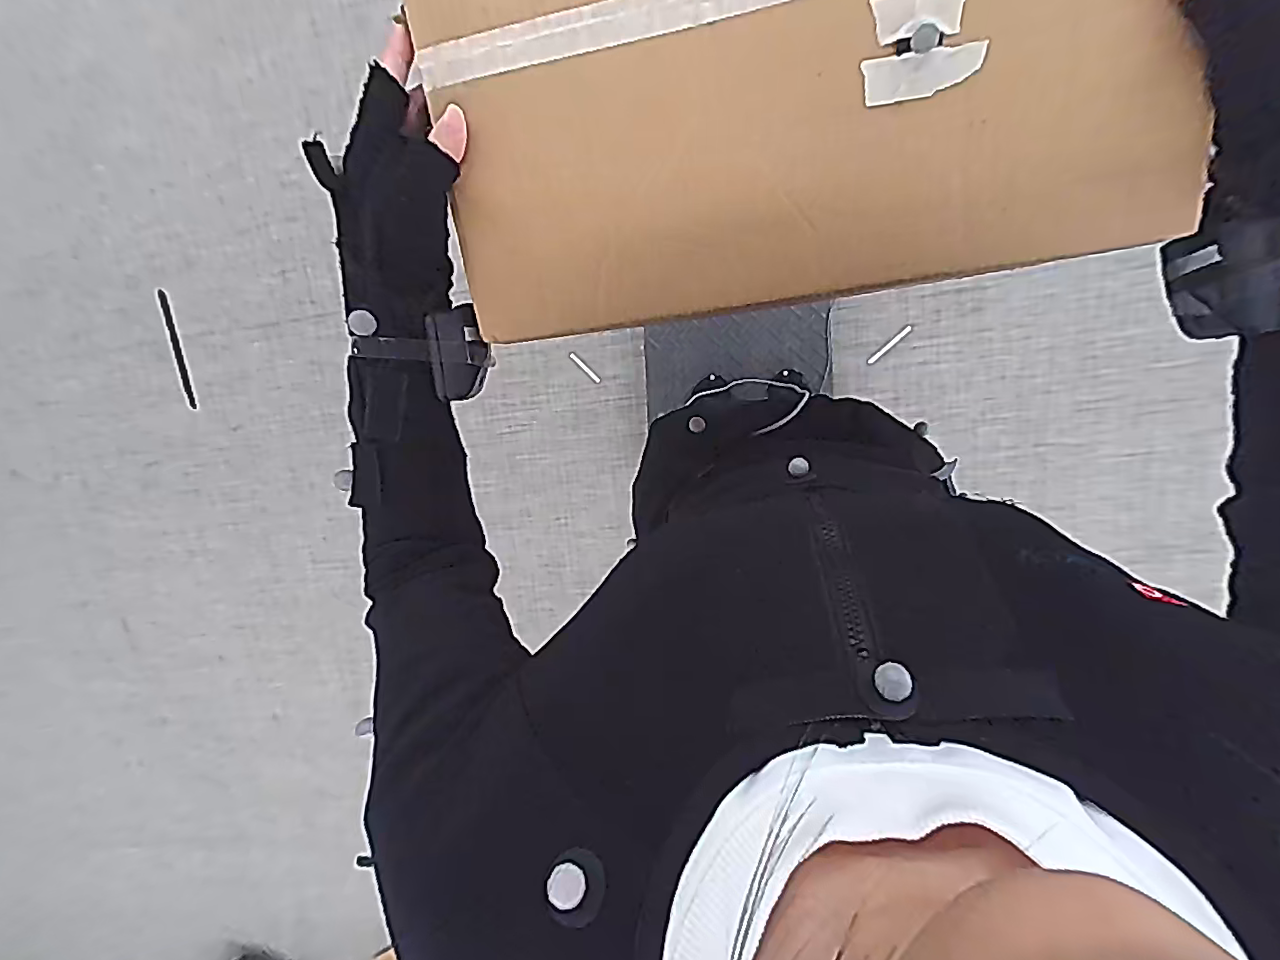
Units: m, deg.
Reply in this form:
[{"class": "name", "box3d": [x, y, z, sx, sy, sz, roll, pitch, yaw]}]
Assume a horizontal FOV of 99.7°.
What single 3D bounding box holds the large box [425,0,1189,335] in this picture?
[{"class": "large box", "box3d": [0.091, -0.308, 0.433, 0.408, 0.320, 0.320, -6, 106, 9]}]
